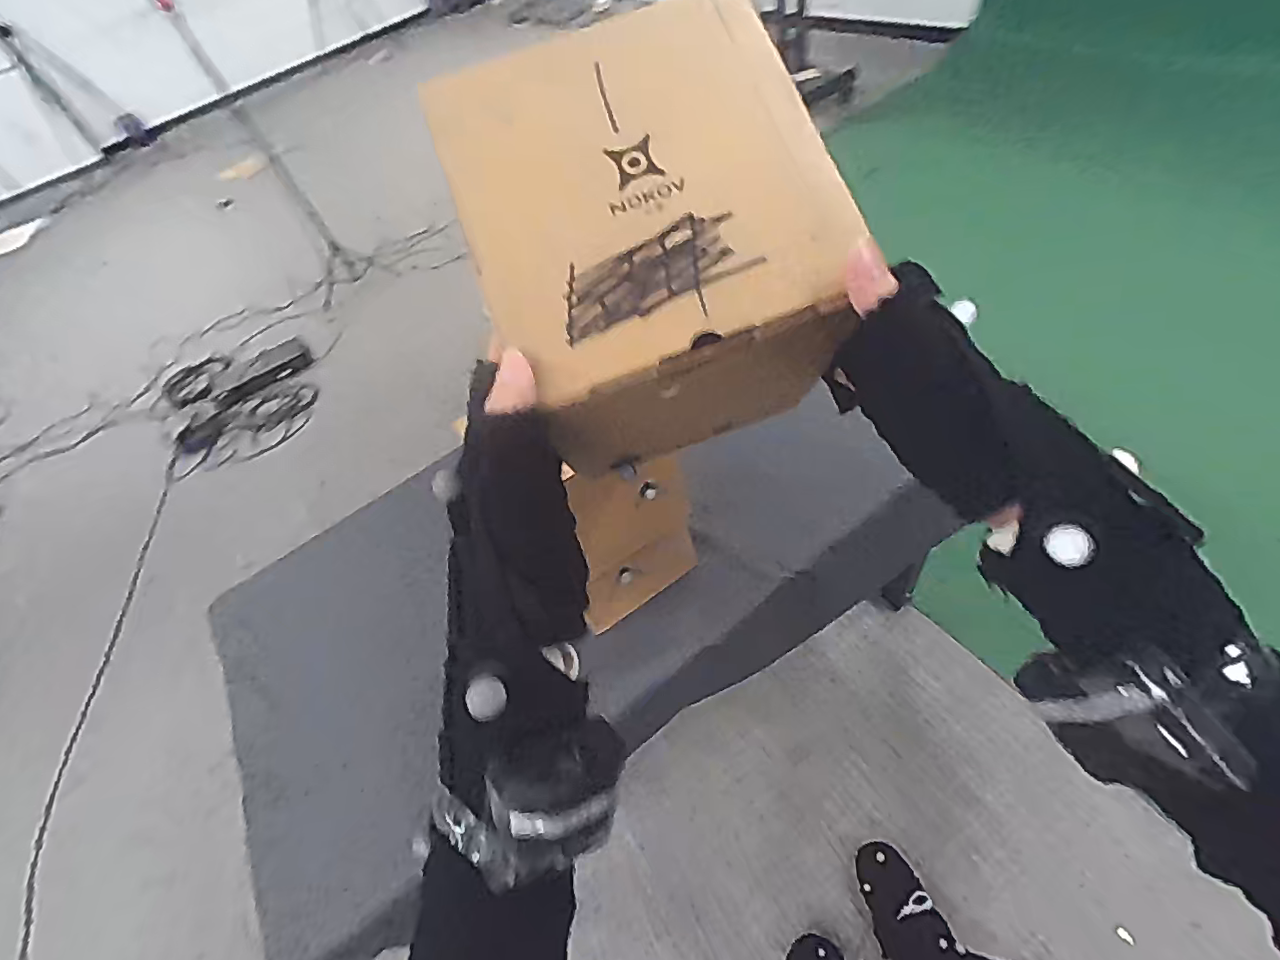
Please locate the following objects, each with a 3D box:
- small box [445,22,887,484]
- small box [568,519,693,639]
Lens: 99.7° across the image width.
[{"bbox_3d":[0.012,-0.106,0.328,0.168,0.176,0.179,-19,78,0],"label":"small box"},{"bbox_3d":[-0.045,0.090,0.764,0.179,0.176,0.168,-36,50,-14],"label":"small box"}]
